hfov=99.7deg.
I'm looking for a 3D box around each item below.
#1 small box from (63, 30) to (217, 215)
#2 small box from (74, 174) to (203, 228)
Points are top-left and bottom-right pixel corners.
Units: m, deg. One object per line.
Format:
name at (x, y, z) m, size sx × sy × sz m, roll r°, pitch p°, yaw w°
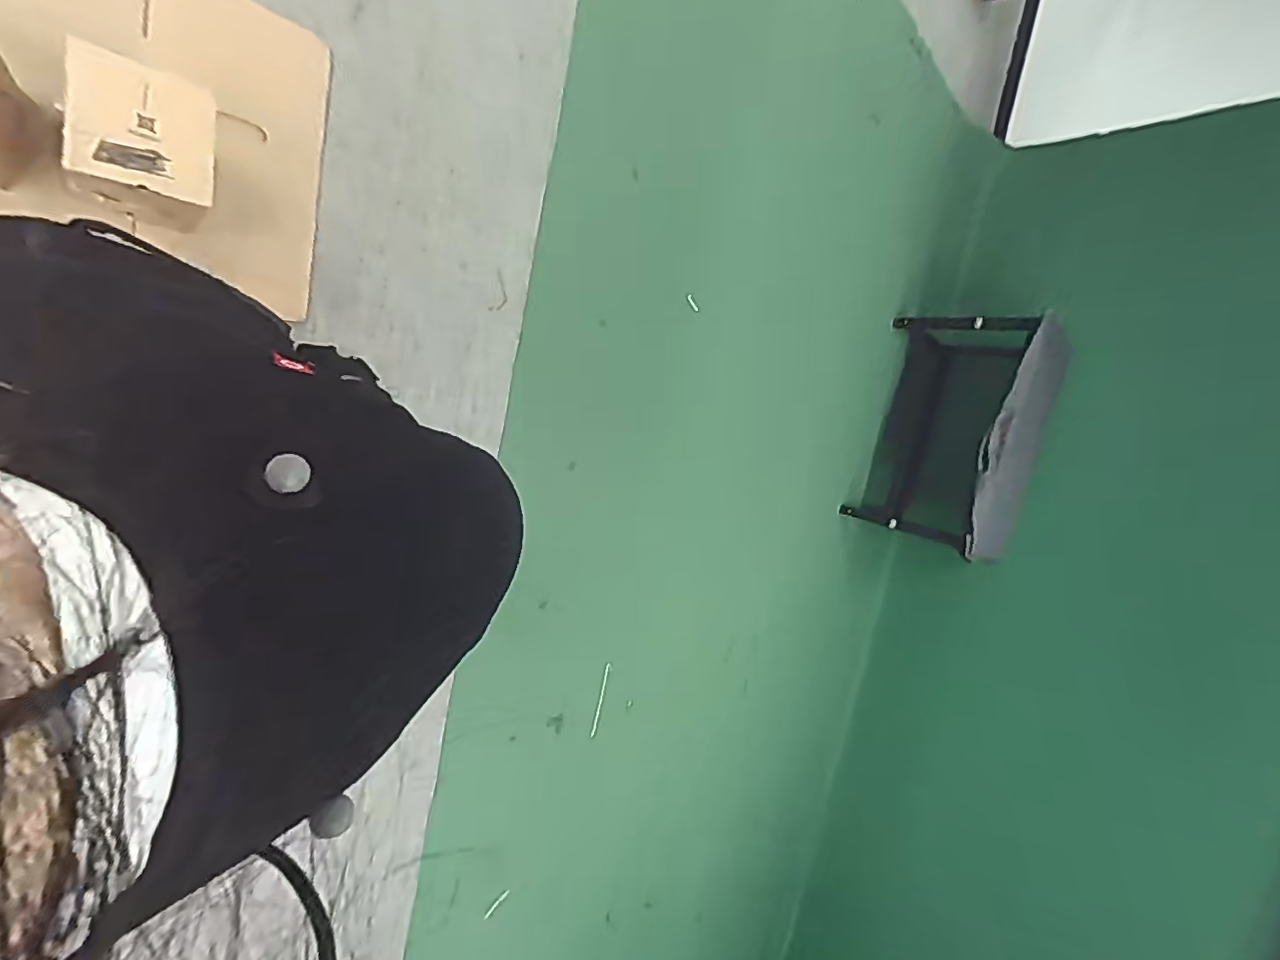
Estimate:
small box at (-0.784, -0.542, 0.856) m, size 0.168 × 0.176 × 0.179 m, roll 1°, pitch 101°, yaw -43°
small box at (-0.895, -0.575, 0.973) m, size 0.168 × 0.176 × 0.179 m, roll 2°, pitch 102°, yaw -43°
